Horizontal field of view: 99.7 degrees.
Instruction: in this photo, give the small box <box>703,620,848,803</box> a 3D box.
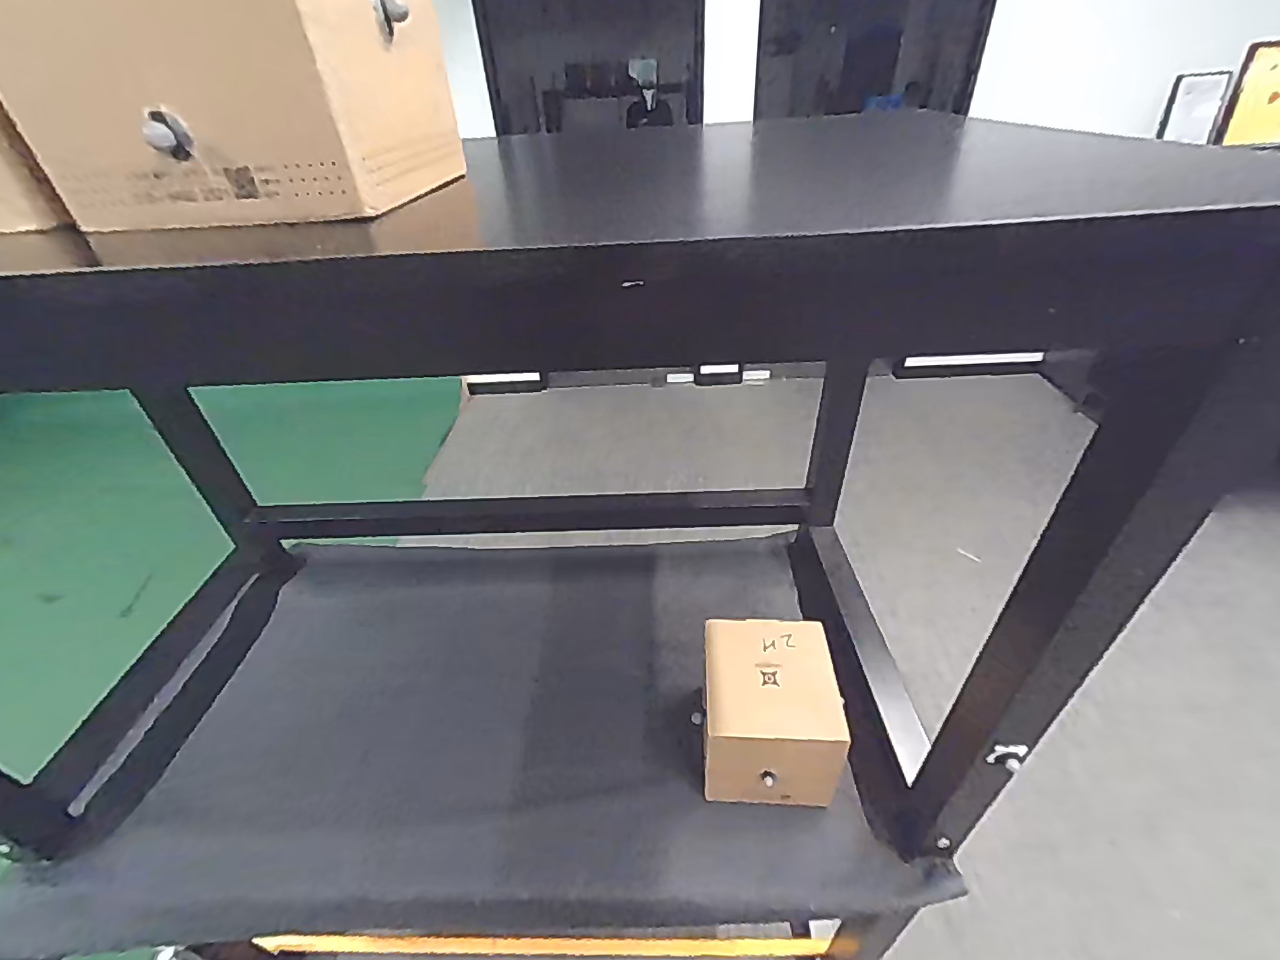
[{"bbox_3d":[0.173,0.317,0.745,0.168,0.176,0.179,0,36,5],"label":"small box"}]
